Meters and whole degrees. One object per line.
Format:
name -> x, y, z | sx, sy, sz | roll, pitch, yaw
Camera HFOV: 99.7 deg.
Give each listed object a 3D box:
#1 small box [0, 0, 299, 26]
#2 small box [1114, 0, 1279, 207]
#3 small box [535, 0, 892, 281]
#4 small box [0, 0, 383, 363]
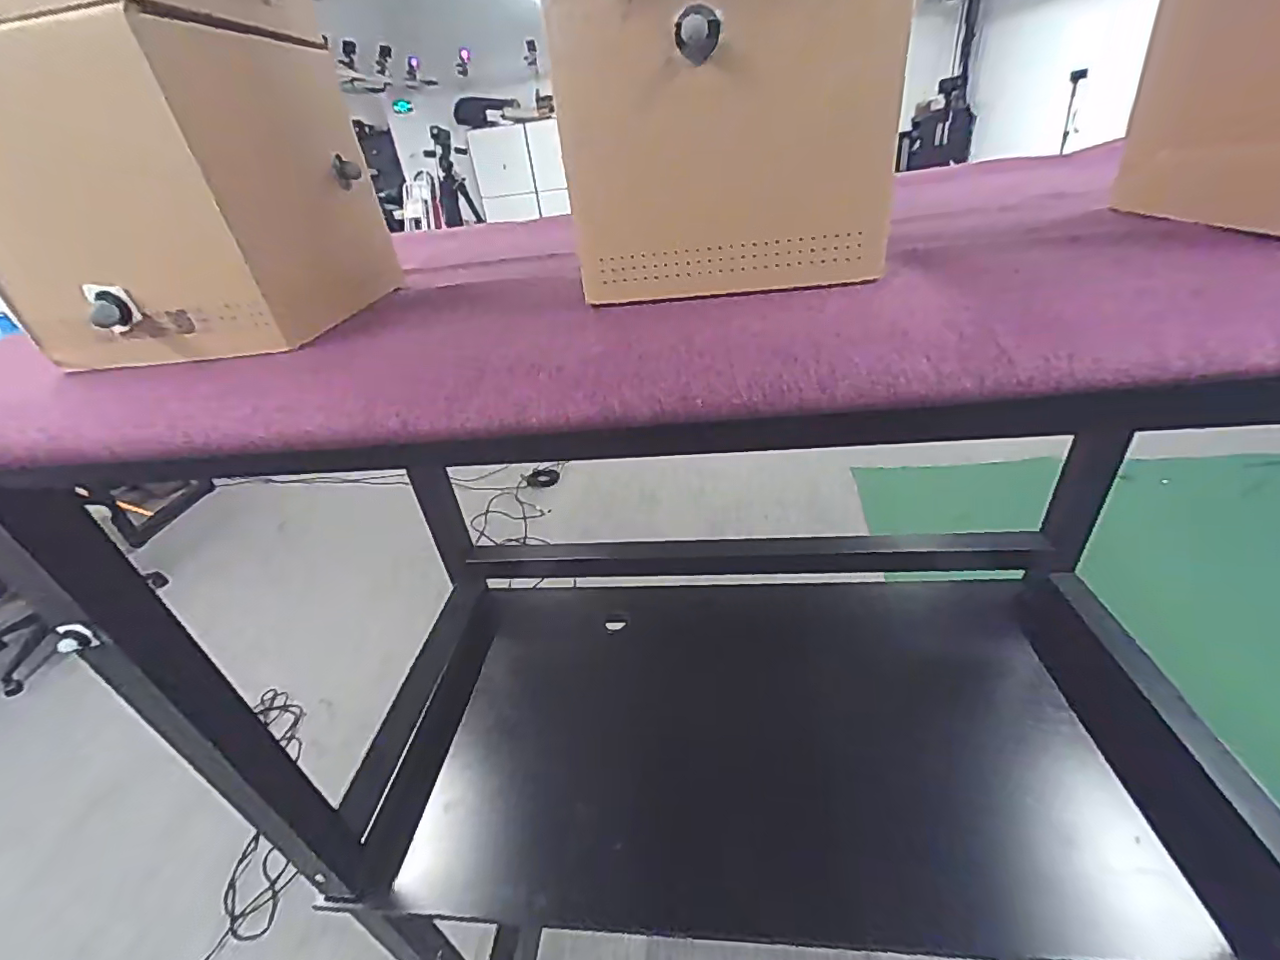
small box -> -0.328, -0.329, 0.273 | 0.179, 0.176, 0.168 | -6, 33, 5
small box -> 0.401, -0.245, 0.278 | 0.168, 0.176, 0.179 | -3, 31, 12
small box -> 0.046, -0.230, 0.338 | 0.179, 0.176, 0.168 | -2, 32, 9
small box -> -0.302, -0.191, 0.360 | 0.168, 0.176, 0.179 | -6, 34, 6
